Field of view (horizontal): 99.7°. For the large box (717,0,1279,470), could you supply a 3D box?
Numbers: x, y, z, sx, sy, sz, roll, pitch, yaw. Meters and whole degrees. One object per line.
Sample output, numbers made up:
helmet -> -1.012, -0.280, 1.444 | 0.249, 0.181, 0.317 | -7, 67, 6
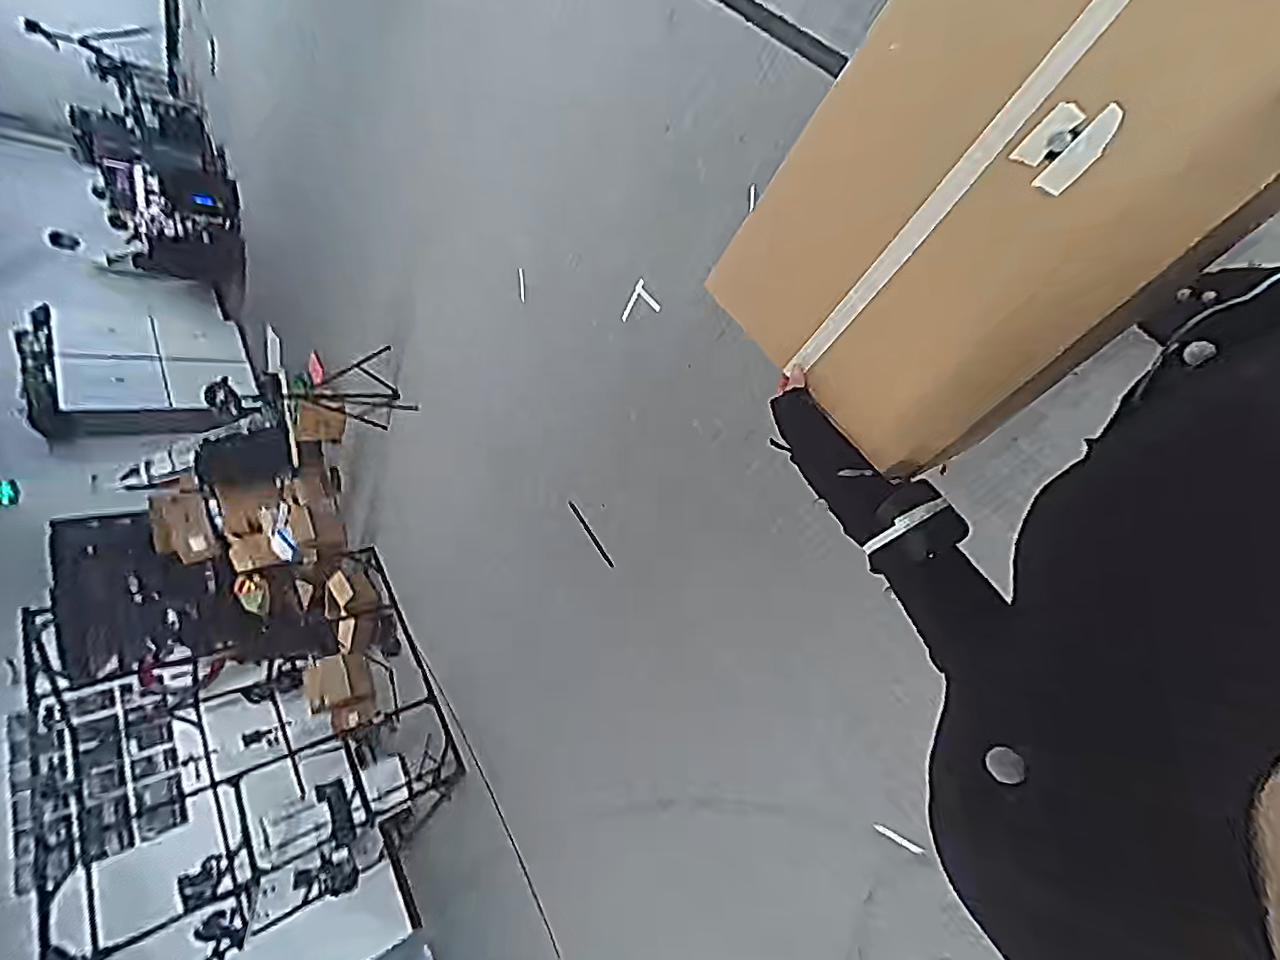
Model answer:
large box -> 0.366, -0.268, 0.571 | 0.320, 0.320, 0.408 | 53, 129, 20
